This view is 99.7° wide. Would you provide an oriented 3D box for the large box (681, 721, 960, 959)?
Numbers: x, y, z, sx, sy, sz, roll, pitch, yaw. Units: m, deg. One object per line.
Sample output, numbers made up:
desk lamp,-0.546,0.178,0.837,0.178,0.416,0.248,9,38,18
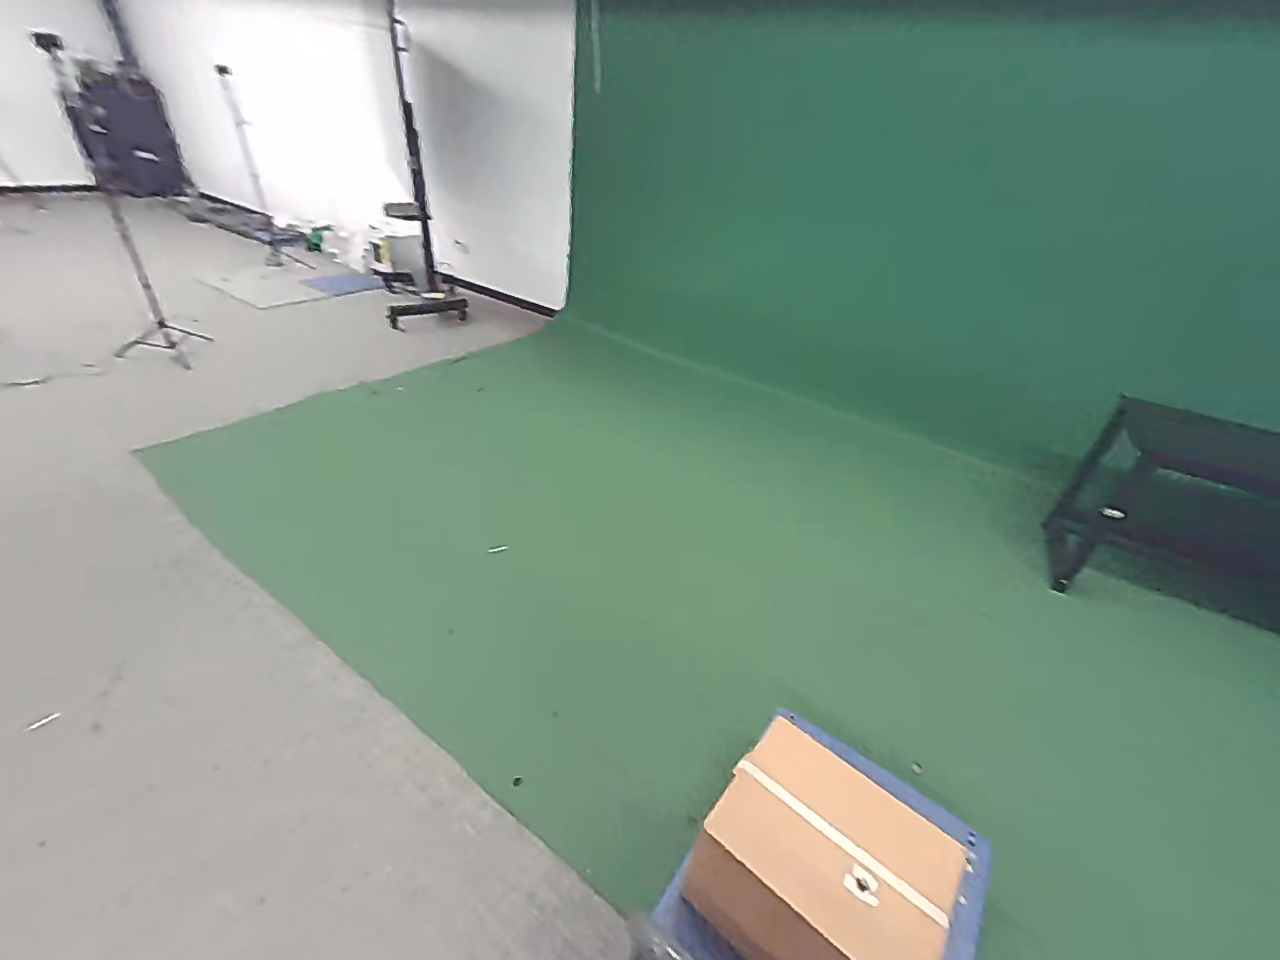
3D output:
large box,0.348,0.801,1.104,0.408,0.320,0.320,29,40,29
